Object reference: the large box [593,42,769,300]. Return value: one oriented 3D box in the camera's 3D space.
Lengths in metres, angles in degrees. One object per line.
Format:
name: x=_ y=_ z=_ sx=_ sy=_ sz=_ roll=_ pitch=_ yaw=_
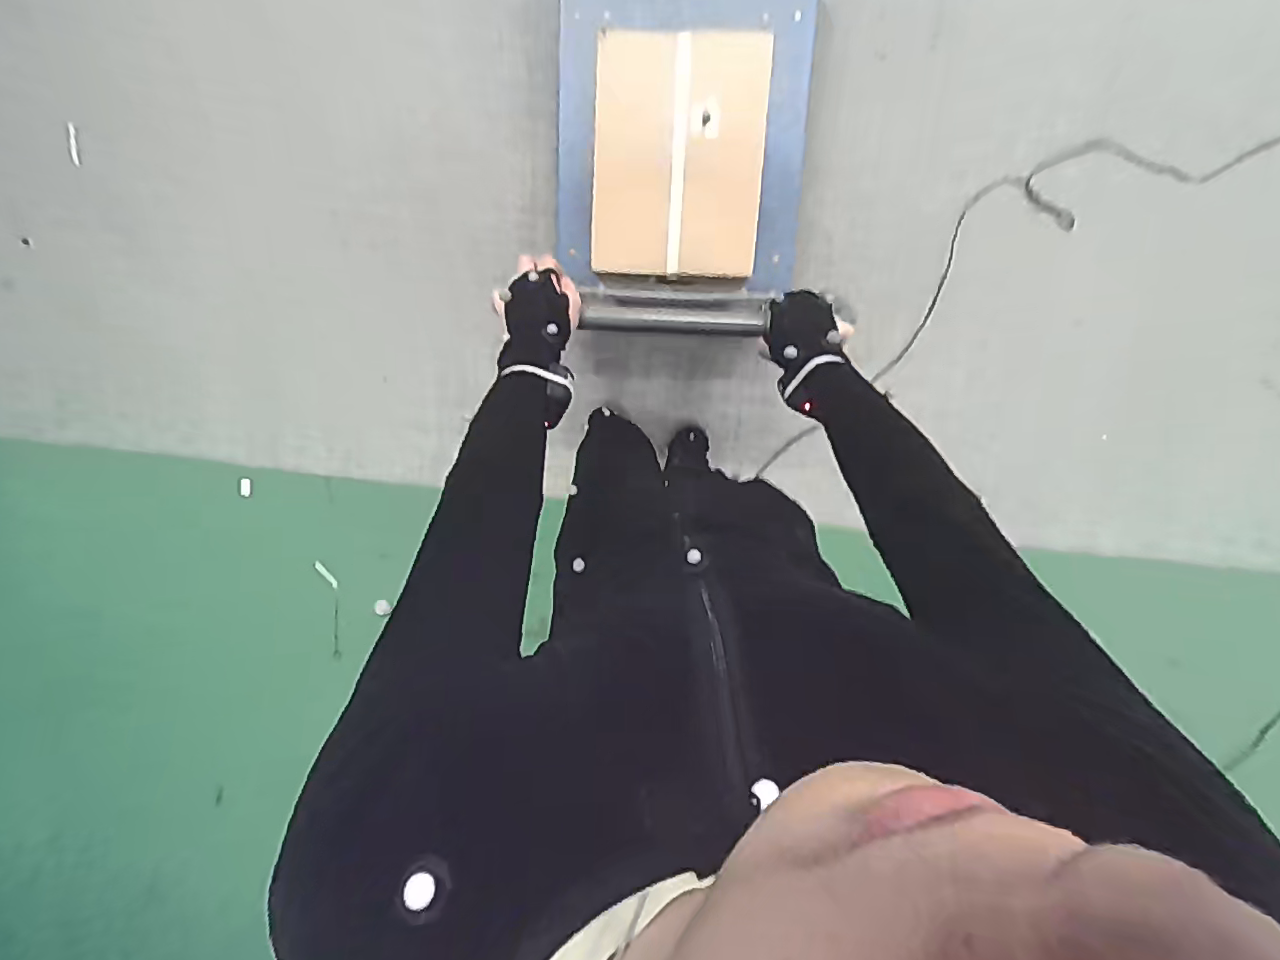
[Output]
large box: x=0.082 y=-0.609 z=1.144 sx=0.320 sy=0.320 sz=0.408 roll=3 pitch=101 yaw=3
